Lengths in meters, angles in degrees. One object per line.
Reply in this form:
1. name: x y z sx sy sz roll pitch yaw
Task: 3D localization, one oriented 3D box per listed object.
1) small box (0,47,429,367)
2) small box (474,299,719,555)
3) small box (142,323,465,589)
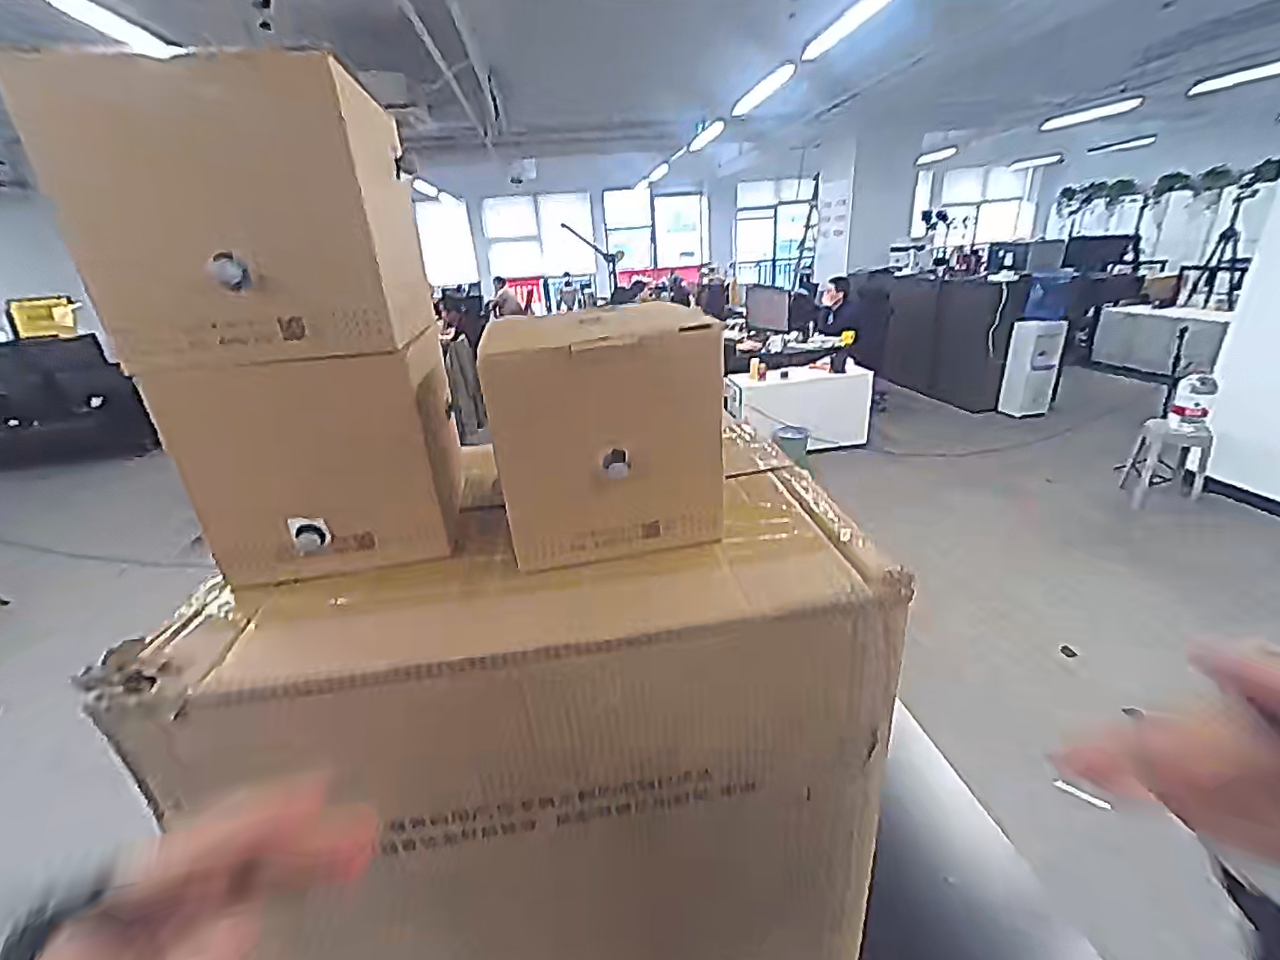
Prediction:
1. small box: -0.262 -0.182 0.392 0.168 0.176 0.179 -8 24 -9
2. small box: -0.034 -0.048 0.457 0.168 0.176 0.179 -8 25 -9
3. small box: -0.251 -0.032 0.460 0.168 0.176 0.179 -9 25 -11
